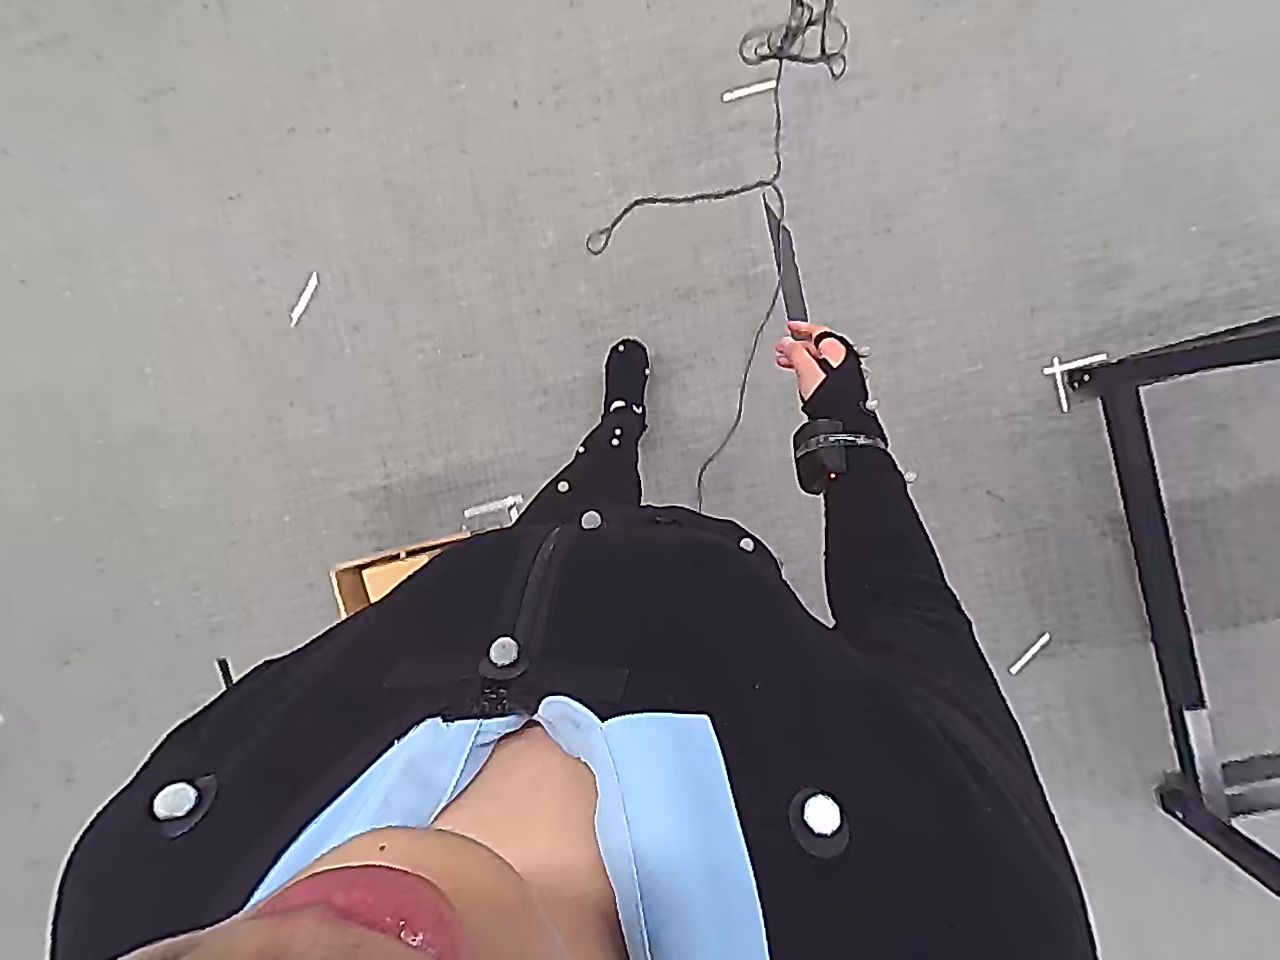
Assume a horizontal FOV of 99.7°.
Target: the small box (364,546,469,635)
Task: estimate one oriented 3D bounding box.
[{"bbox_3d":[-0.576,0.283,1.414,0.179,0.176,0.168,-15,94,4],"label":"small box"}]
